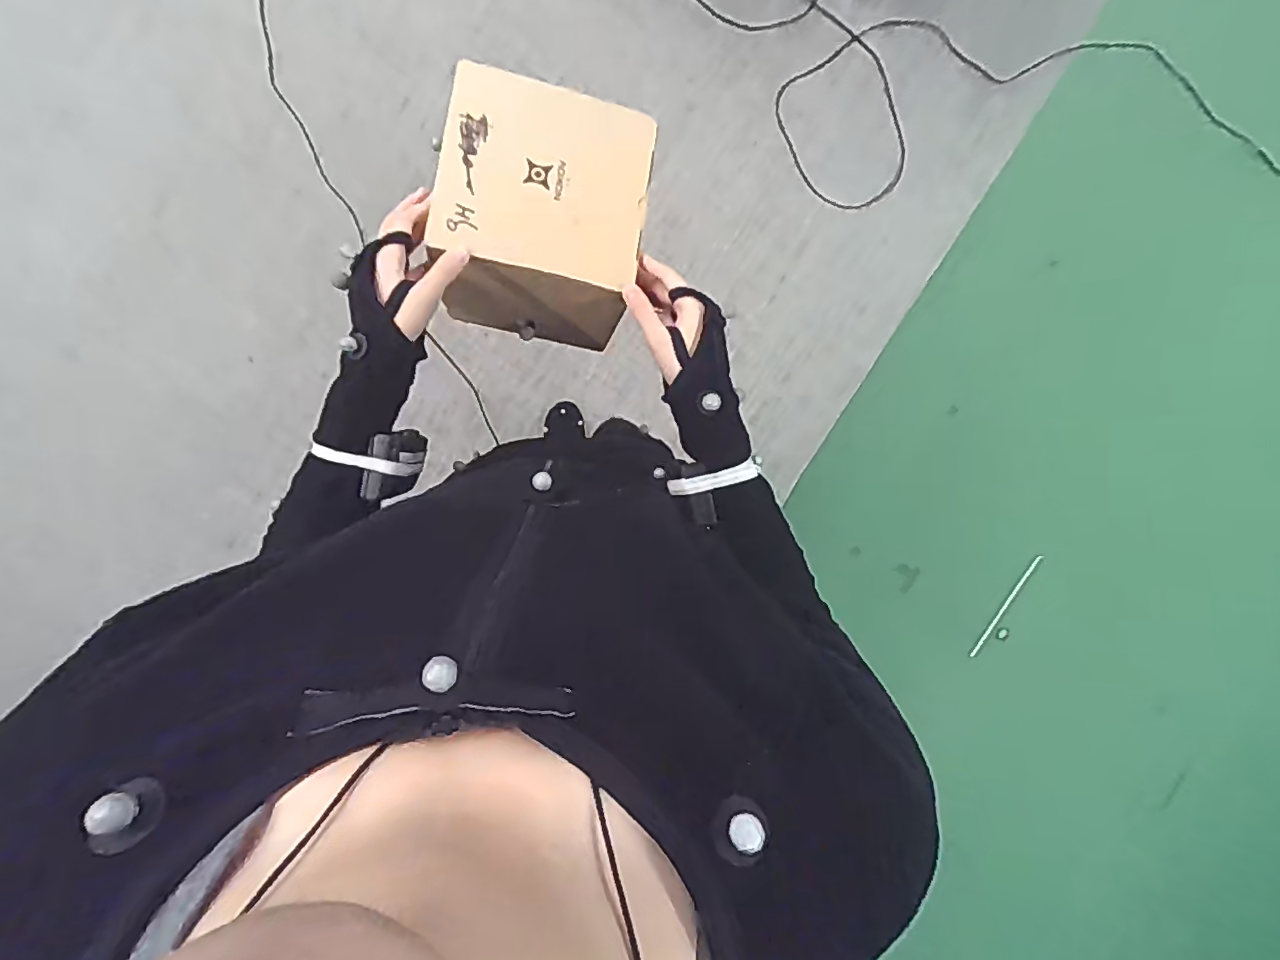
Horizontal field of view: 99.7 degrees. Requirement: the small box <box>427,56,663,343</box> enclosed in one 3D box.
[{"bbox_3d":[-0.094,-0.249,0.532,0.179,0.176,0.168,10,83,-13],"label":"small box"}]
